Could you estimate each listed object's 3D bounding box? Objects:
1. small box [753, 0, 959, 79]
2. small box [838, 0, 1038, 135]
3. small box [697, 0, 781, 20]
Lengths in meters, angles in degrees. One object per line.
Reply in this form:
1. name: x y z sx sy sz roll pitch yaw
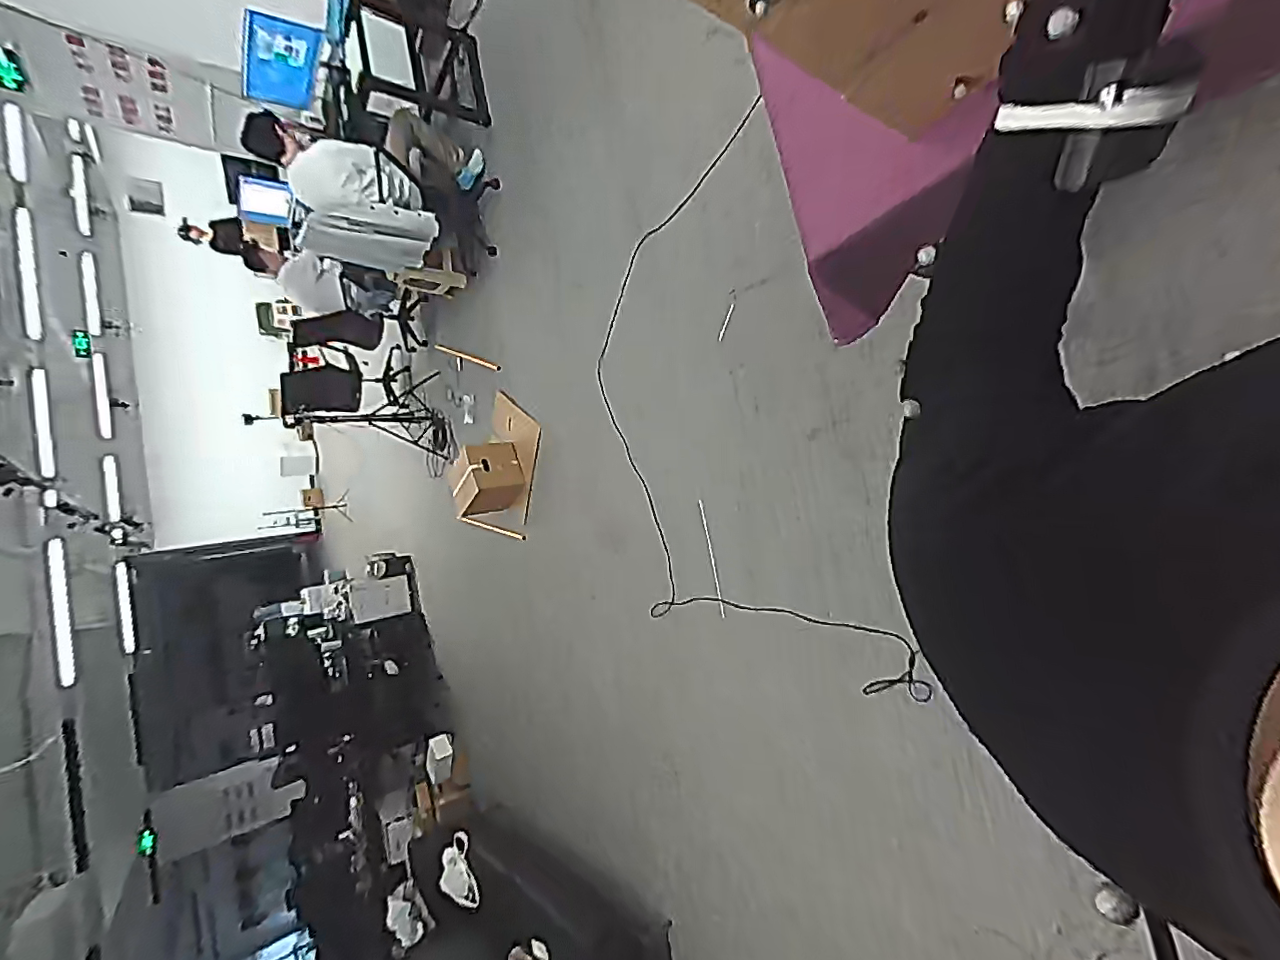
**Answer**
1. small box: 0.221 -0.559 0.554 0.168 0.176 0.179 -14 83 51
2. small box: 0.350 -0.568 0.655 0.179 0.176 0.168 -17 81 51
3. small box: 0.087 -0.548 0.459 0.168 0.176 0.179 -19 79 51
